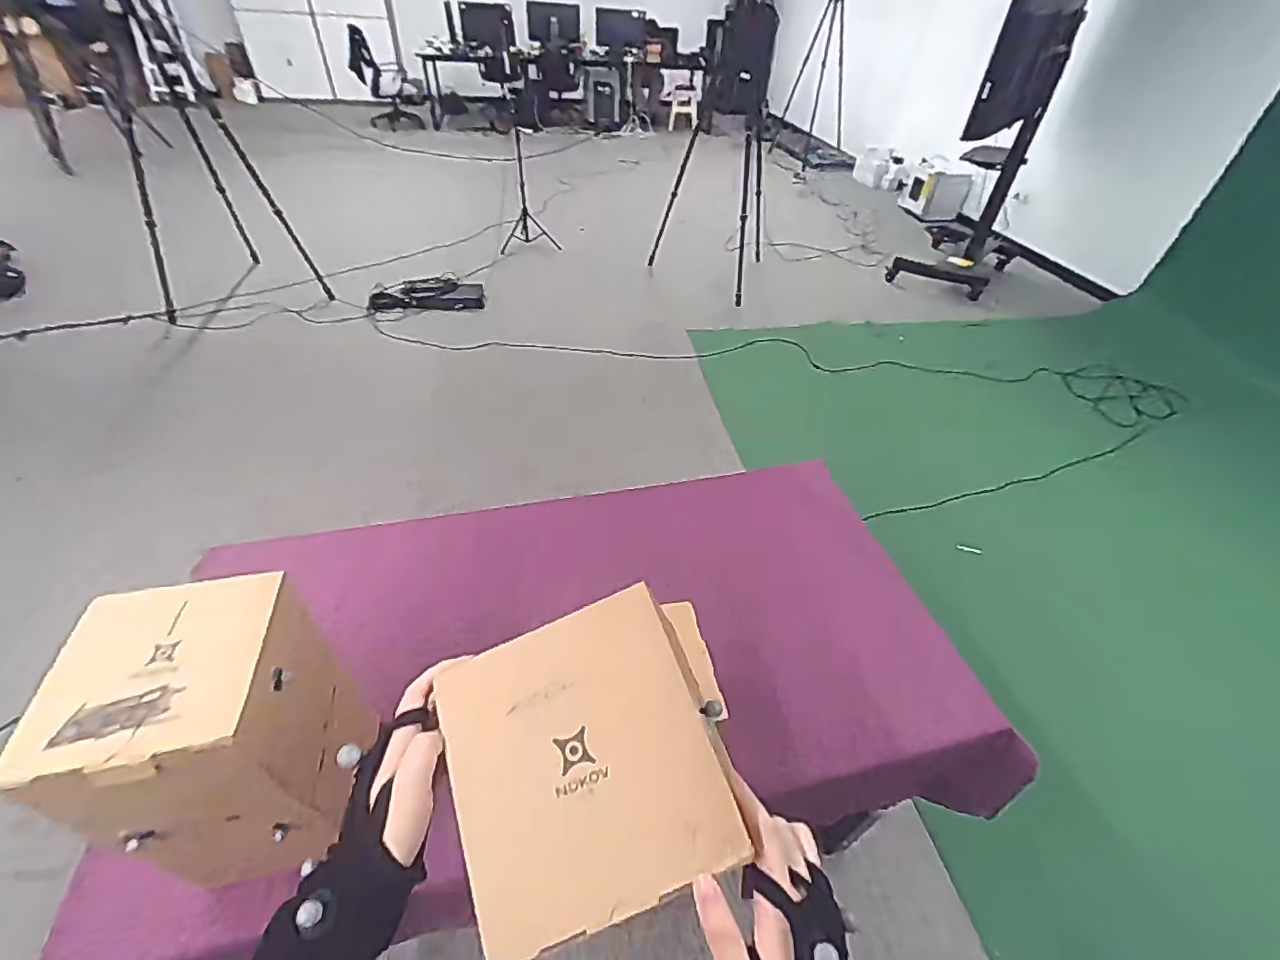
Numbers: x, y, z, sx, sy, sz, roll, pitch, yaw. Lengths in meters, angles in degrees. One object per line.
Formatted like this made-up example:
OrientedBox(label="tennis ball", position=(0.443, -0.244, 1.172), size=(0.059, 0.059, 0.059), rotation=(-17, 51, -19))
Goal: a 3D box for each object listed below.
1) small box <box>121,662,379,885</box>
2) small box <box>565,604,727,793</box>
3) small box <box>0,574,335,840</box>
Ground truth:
OrientedBox(label="small box", position=(-0.430, 0.344, 0.636), size=(0.179, 0.176, 0.168), rotation=(-7, 44, -13))
OrientedBox(label="small box", position=(0.000, 0.292, 0.721), size=(0.179, 0.176, 0.168), rotation=(-6, 44, -10))
OrientedBox(label="small box", position=(-0.420, 0.222, 0.527), size=(0.168, 0.176, 0.179), rotation=(-7, 42, -13))
